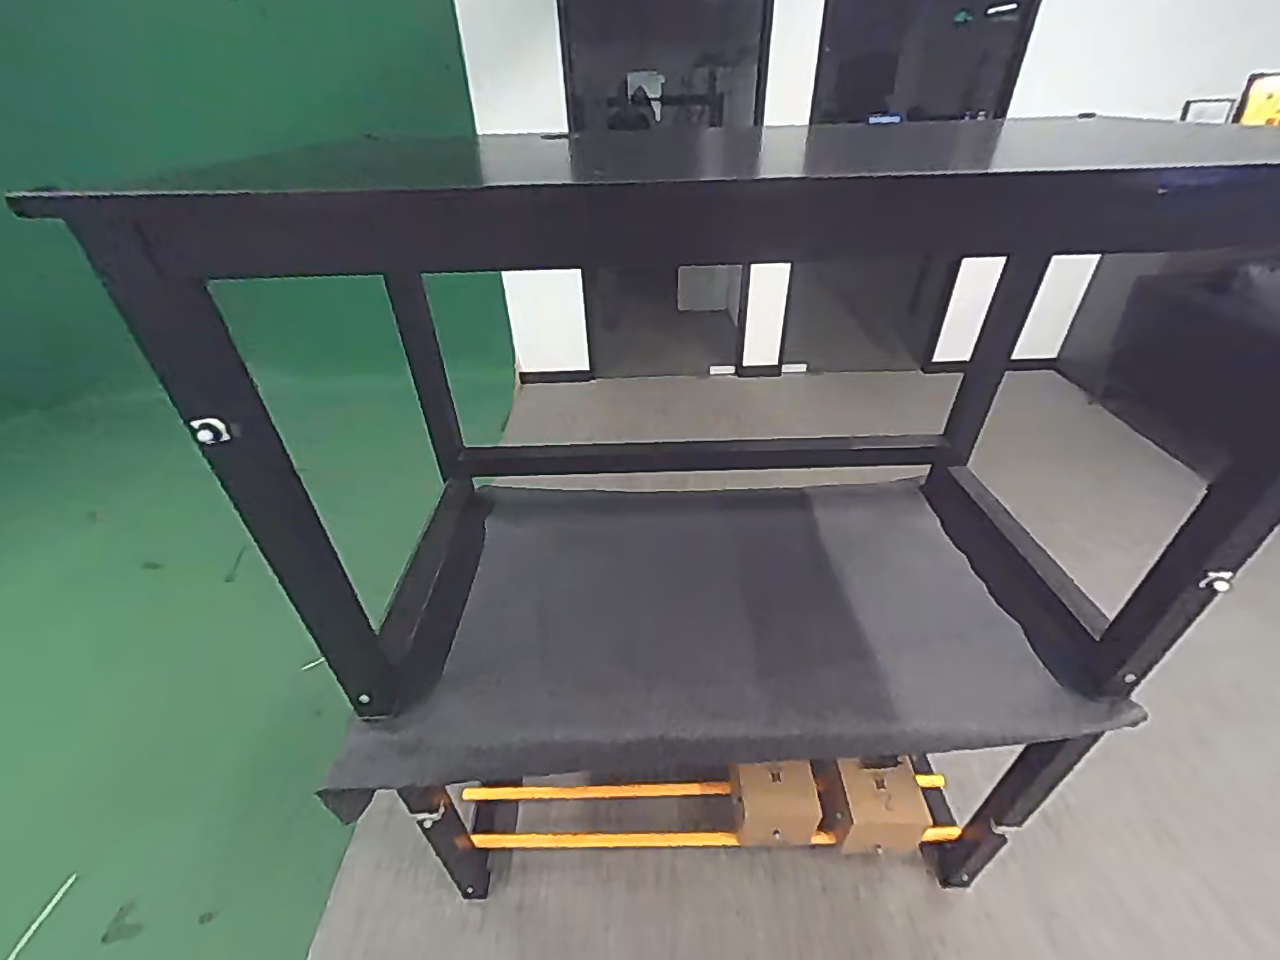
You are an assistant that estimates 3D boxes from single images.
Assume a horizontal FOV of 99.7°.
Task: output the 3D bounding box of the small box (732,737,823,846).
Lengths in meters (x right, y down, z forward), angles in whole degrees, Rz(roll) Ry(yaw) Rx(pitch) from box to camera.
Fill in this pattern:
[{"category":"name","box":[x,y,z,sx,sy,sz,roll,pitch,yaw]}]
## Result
[{"category":"small box","box":[0.309,0.724,1.250,0.168,0.176,0.179,-2,36,0]}]
